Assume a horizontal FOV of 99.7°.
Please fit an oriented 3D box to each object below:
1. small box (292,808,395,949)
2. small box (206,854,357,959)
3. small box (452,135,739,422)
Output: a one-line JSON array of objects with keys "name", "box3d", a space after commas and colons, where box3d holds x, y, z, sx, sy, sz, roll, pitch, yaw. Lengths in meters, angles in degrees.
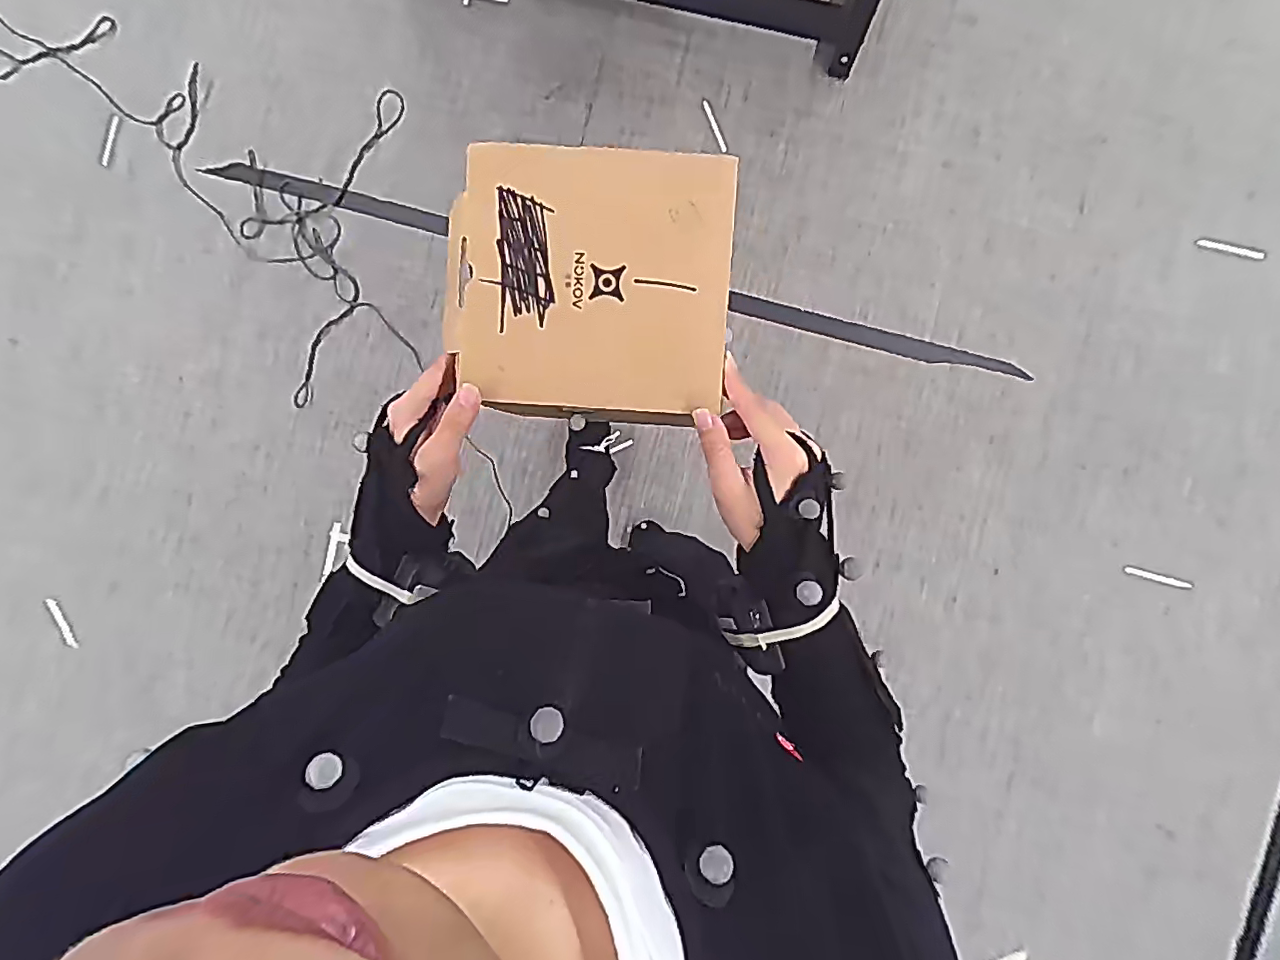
[{"name": "small box", "box3d": [-0.694, 0.902, 1.243, 0.168, 0.176, 0.179, 19, 91, 3]}, {"name": "small box", "box3d": [-0.714, 0.898, 1.080, 0.179, 0.176, 0.168, 22, 91, 2]}, {"name": "small box", "box3d": [-0.027, -0.135, 0.422, 0.179, 0.176, 0.168, 4, 93, 1]}]
